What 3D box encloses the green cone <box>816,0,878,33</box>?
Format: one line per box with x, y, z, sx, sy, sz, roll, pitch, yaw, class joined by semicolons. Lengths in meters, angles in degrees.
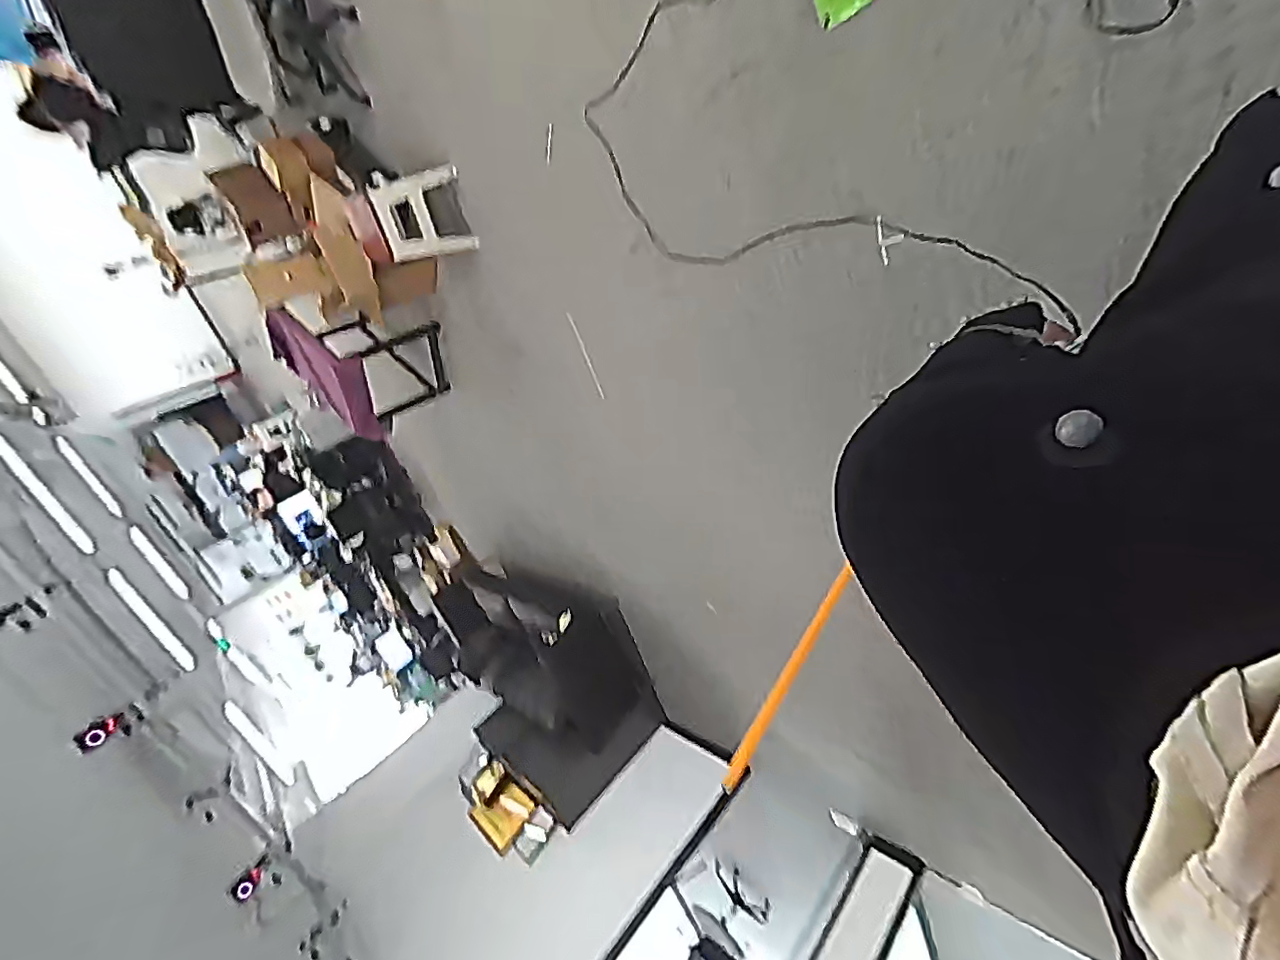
0.373;-1.116;1.154;0.200;0.368;0.202;1;118;51;green cone
